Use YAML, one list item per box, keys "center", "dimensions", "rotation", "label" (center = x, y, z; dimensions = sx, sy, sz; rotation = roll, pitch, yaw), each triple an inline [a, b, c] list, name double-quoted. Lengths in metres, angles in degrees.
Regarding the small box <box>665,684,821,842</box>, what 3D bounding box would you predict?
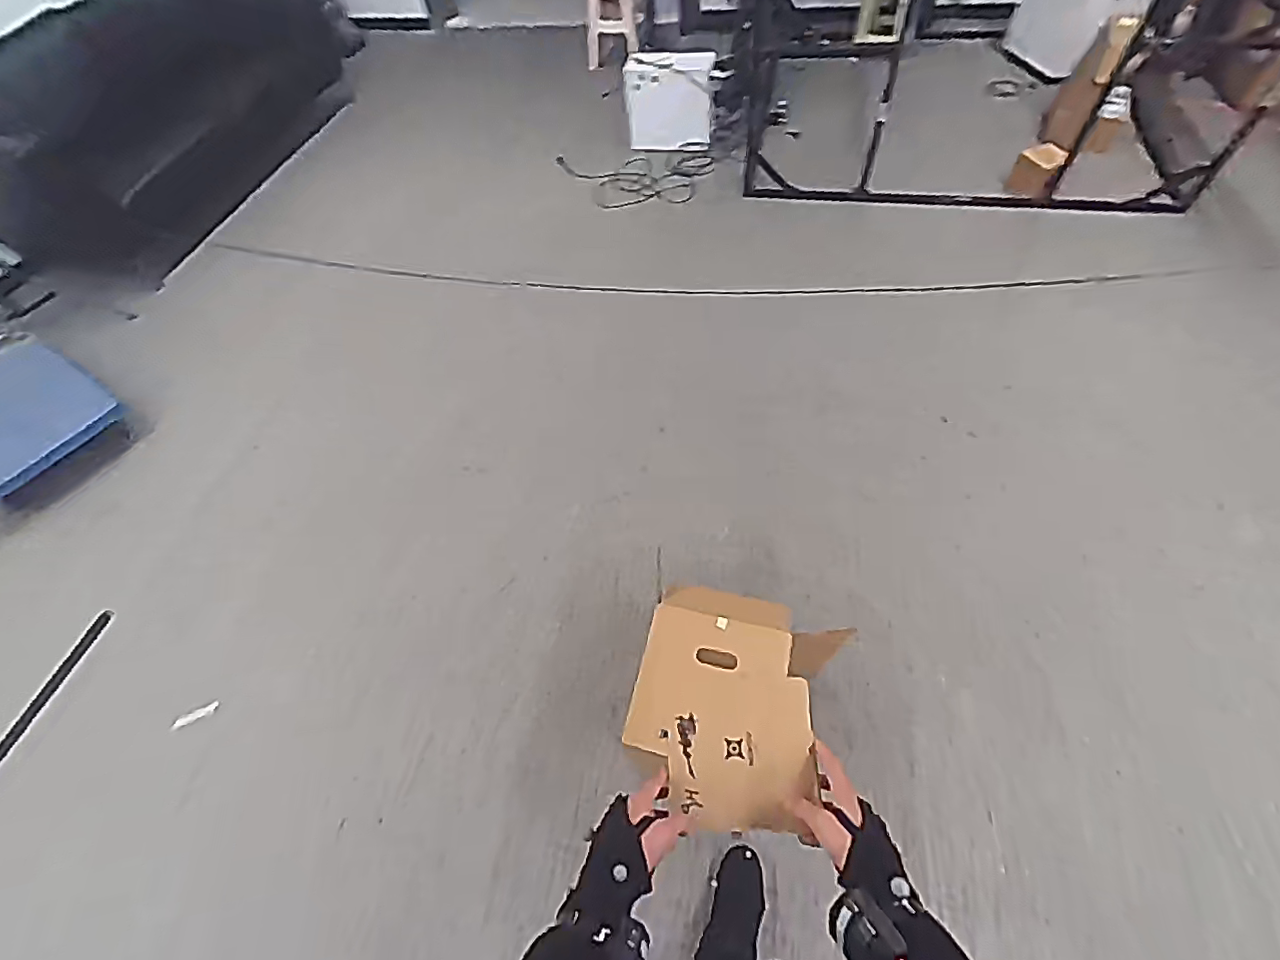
- center: [0.122, 0.370, 0.718]
  dimensions: [0.179, 0.176, 0.168]
  rotation: [-1, 61, 3]
  label: "small box"
